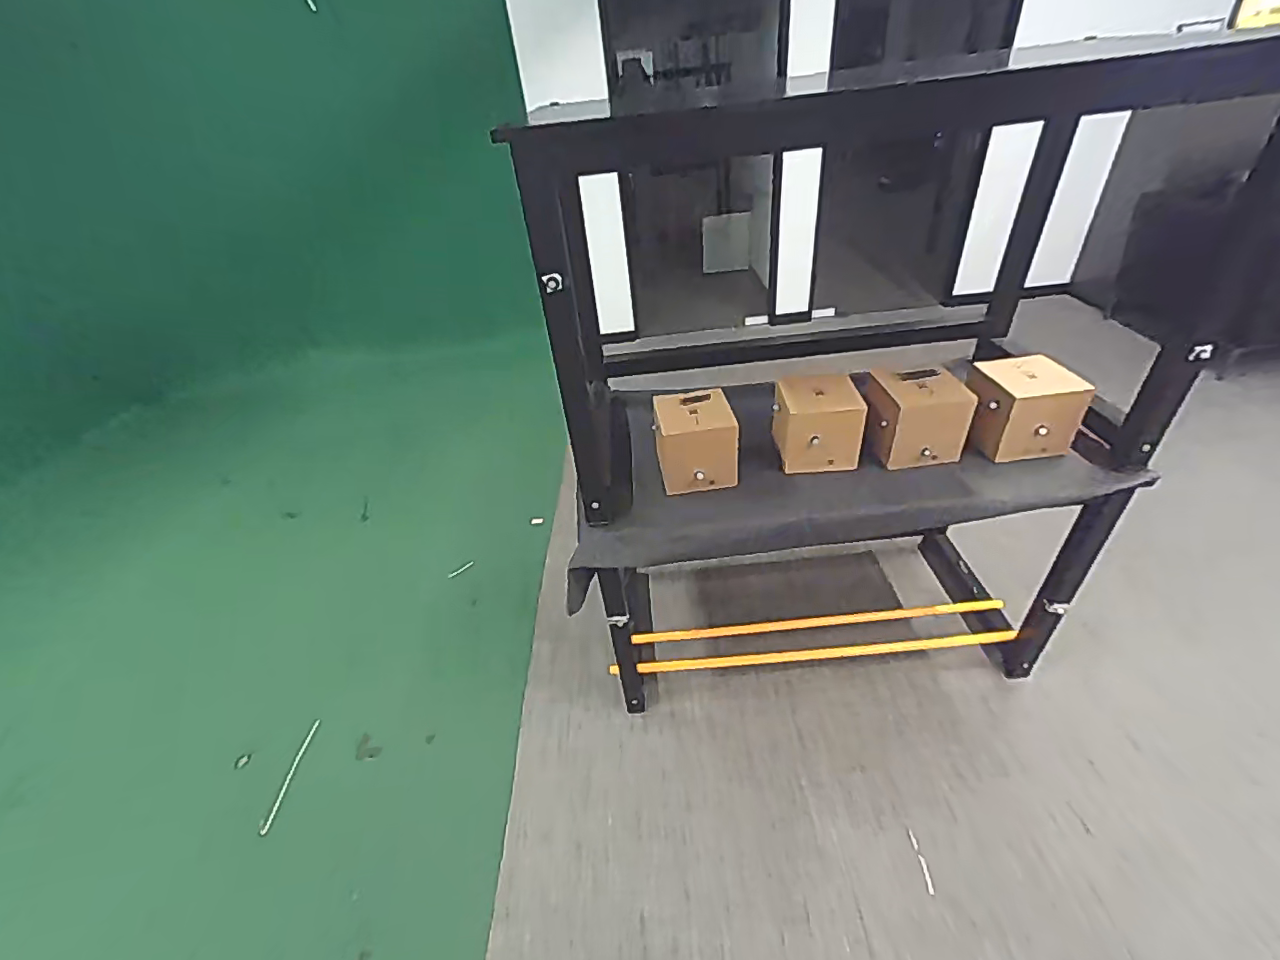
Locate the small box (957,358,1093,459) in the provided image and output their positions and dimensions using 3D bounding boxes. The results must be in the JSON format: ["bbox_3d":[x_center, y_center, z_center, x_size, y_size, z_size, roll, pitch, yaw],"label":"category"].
[{"bbox_3d":[0.862,-0.158,1.231,0.168,0.176,0.179,-7,36,0],"label":"small box"}]

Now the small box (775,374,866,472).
[{"bbox_3d":[0.416,-0.129,1.273,0.168,0.176,0.179,-4,37,5],"label":"small box"}]

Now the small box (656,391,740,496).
[{"bbox_3d":[0.131,-0.086,1.259,0.168,0.176,0.179,-8,38,-1],"label":"small box"}]
